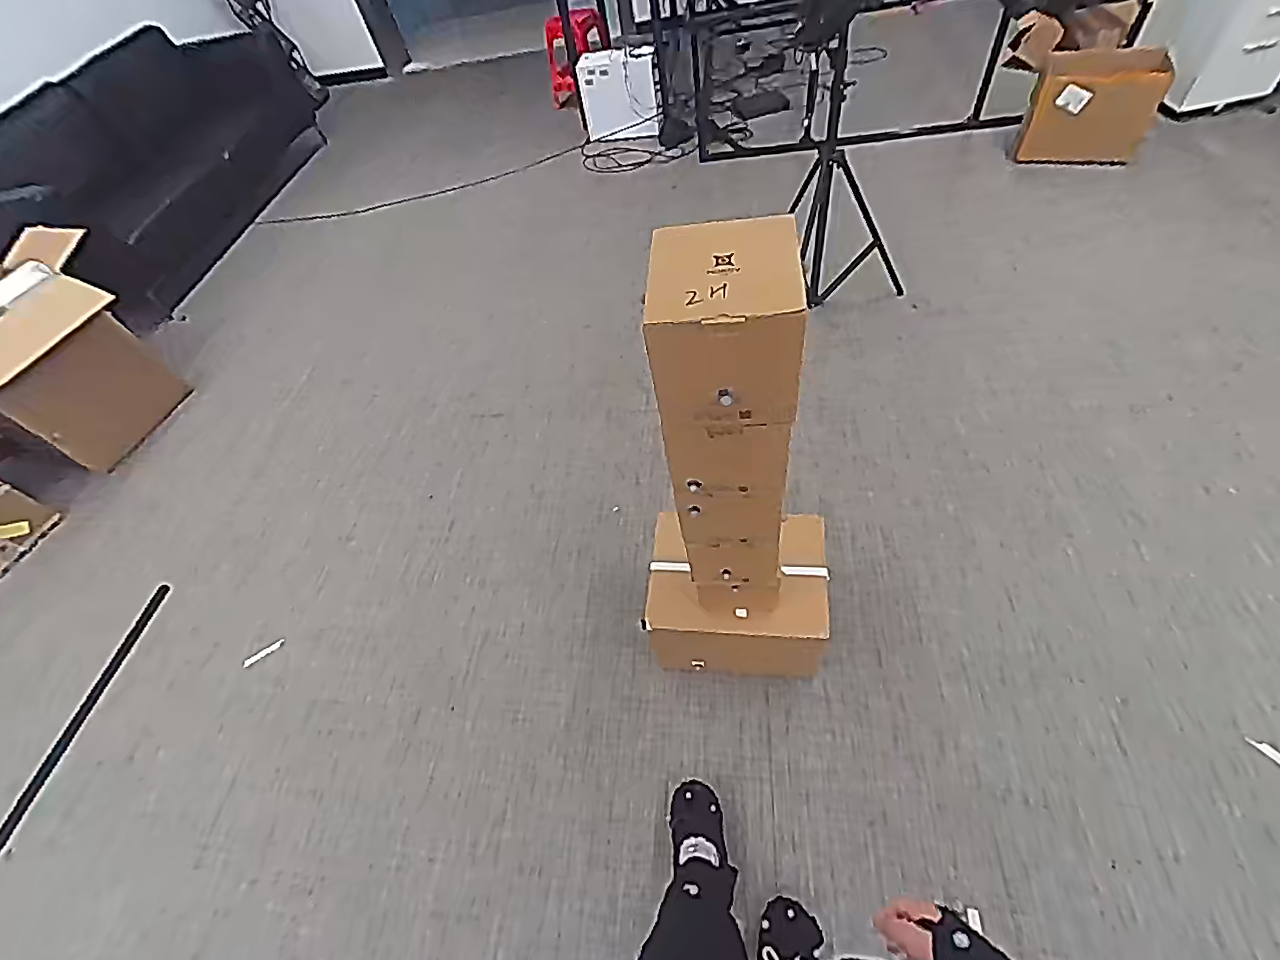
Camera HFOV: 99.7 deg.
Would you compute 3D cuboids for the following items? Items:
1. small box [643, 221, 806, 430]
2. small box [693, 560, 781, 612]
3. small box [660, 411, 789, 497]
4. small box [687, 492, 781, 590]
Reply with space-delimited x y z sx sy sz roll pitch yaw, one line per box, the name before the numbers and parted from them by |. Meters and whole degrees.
small box | 0.103 -0.180 0.654 0.168 0.176 0.179 -2 56 11
small box | 0.213 0.184 1.188 0.179 0.176 0.168 -1 55 9
small box | 0.130 -0.088 0.788 0.168 0.176 0.179 1 55 12
small box | 0.182 0.097 1.054 0.168 0.176 0.179 -1 56 11
